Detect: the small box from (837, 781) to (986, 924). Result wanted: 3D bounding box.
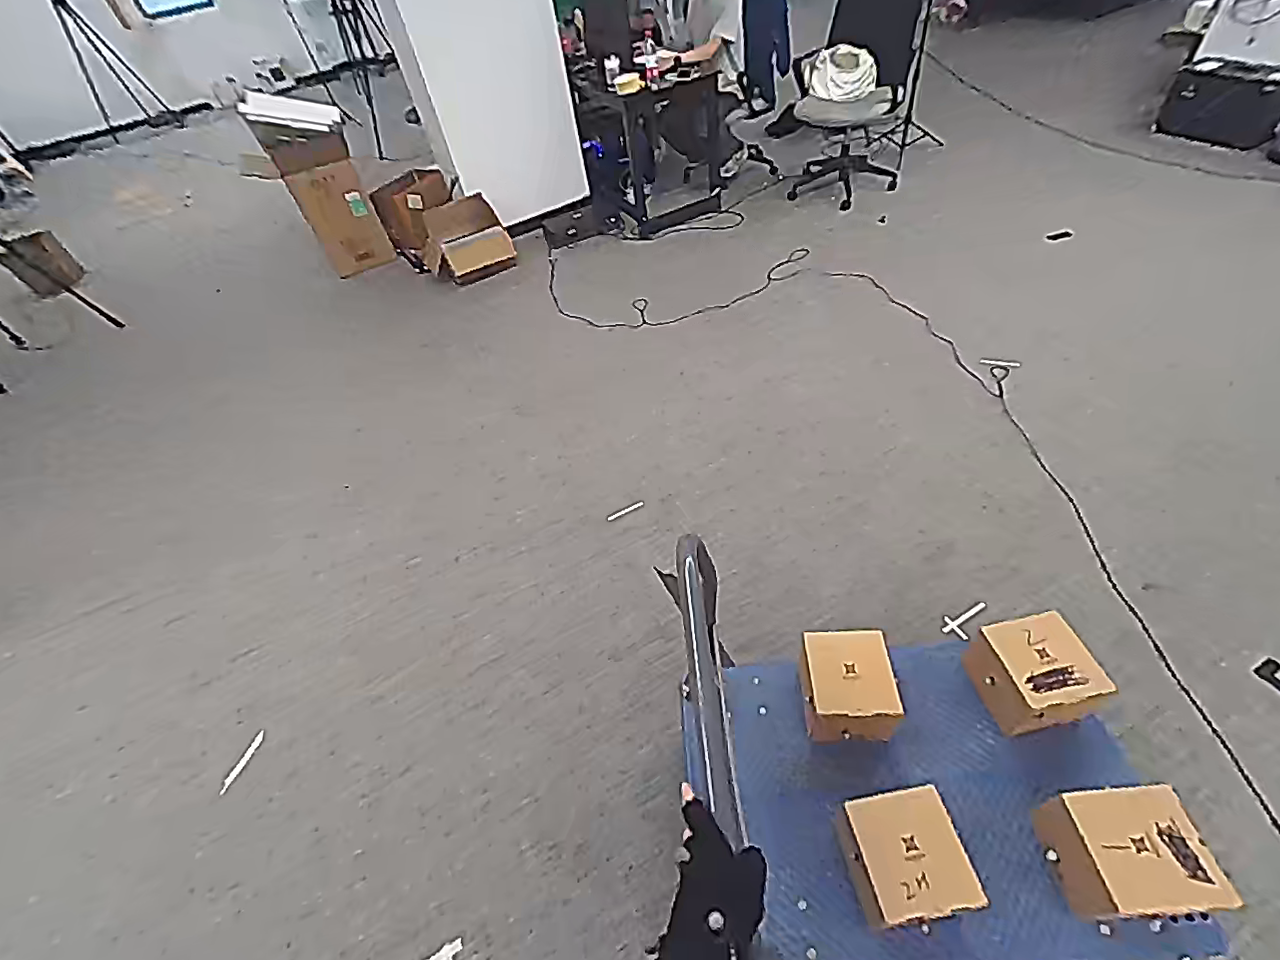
[{"bbox_3d":[0.467,0.667,0.966,0.168,0.176,0.179,-12,48,2],"label":"small box"}]

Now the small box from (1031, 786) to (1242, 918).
[{"bbox_3d":[0.821,0.635,0.921,0.179,0.176,0.168,-8,48,6],"label":"small box"}]

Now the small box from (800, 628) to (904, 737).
[{"bbox_3d":[0.447,0.439,1.172,0.168,0.176,0.179,-4,50,8],"label":"small box"}]
